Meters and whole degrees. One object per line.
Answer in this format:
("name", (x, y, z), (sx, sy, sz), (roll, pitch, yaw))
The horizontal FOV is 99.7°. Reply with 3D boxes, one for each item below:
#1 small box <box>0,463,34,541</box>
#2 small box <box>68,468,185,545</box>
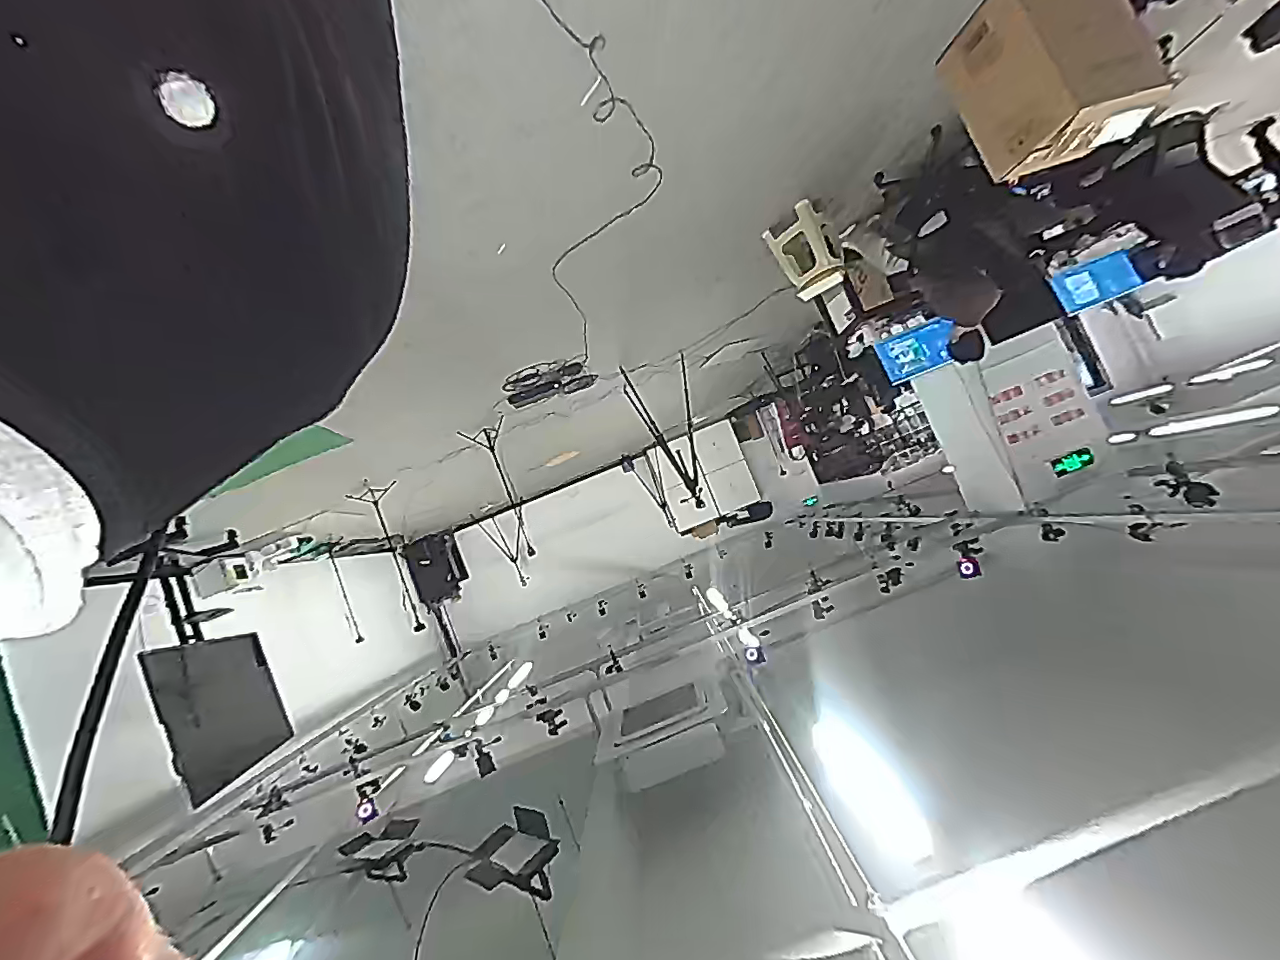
("small box", (-1.523, 0.056, 1.184), (0.168, 0.176, 0.179), (-23, 174, -2))
("small box", (-1.475, 0.072, 1.550), (0.179, 0.176, 0.168), (-22, 173, 9))
